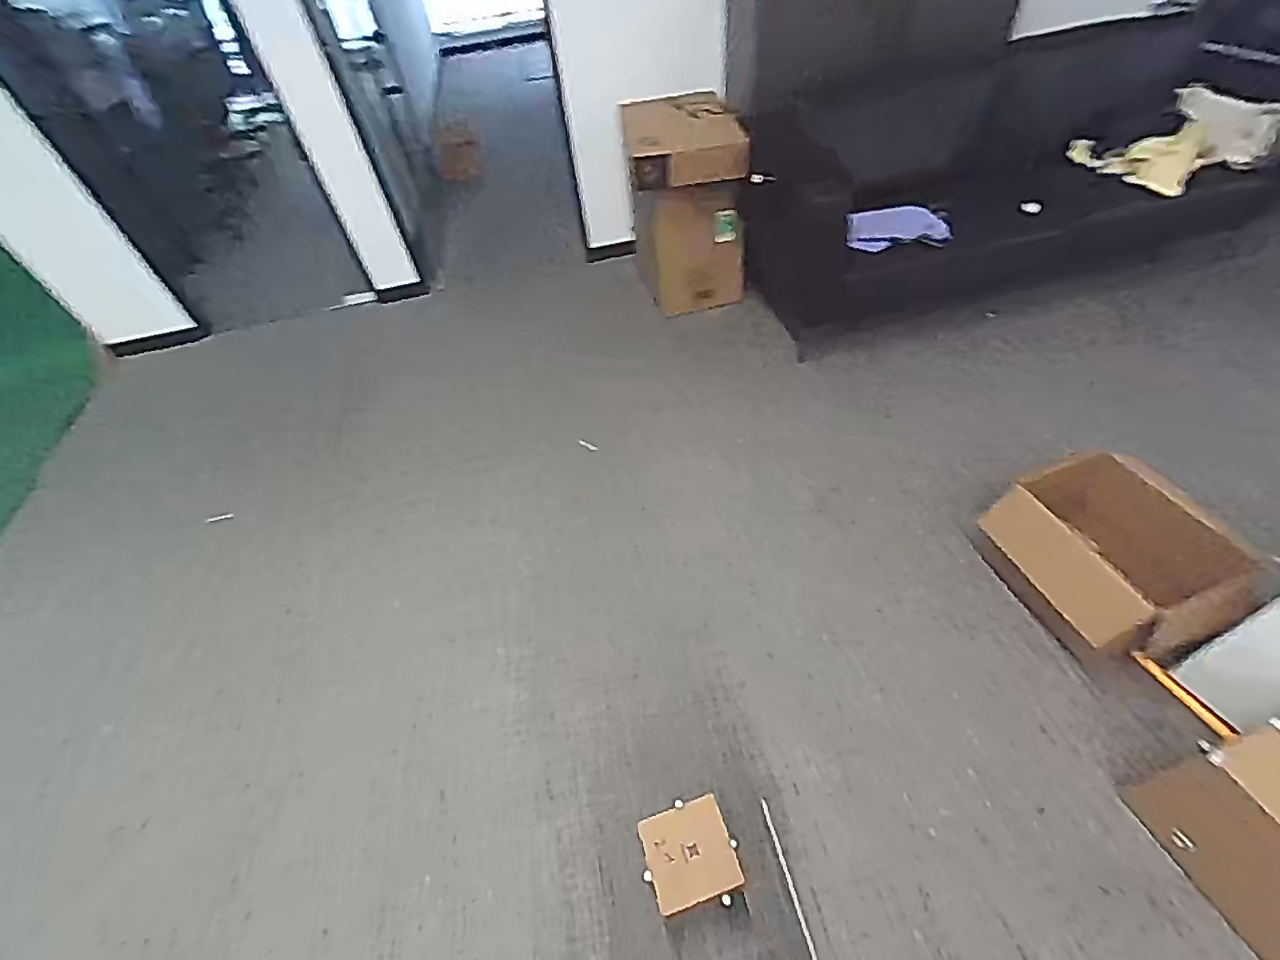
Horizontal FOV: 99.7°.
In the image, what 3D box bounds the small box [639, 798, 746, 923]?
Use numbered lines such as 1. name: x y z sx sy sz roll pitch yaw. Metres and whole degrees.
1. small box: 0.106 0.802 1.140 0.179 0.176 0.168 -16 48 -7
